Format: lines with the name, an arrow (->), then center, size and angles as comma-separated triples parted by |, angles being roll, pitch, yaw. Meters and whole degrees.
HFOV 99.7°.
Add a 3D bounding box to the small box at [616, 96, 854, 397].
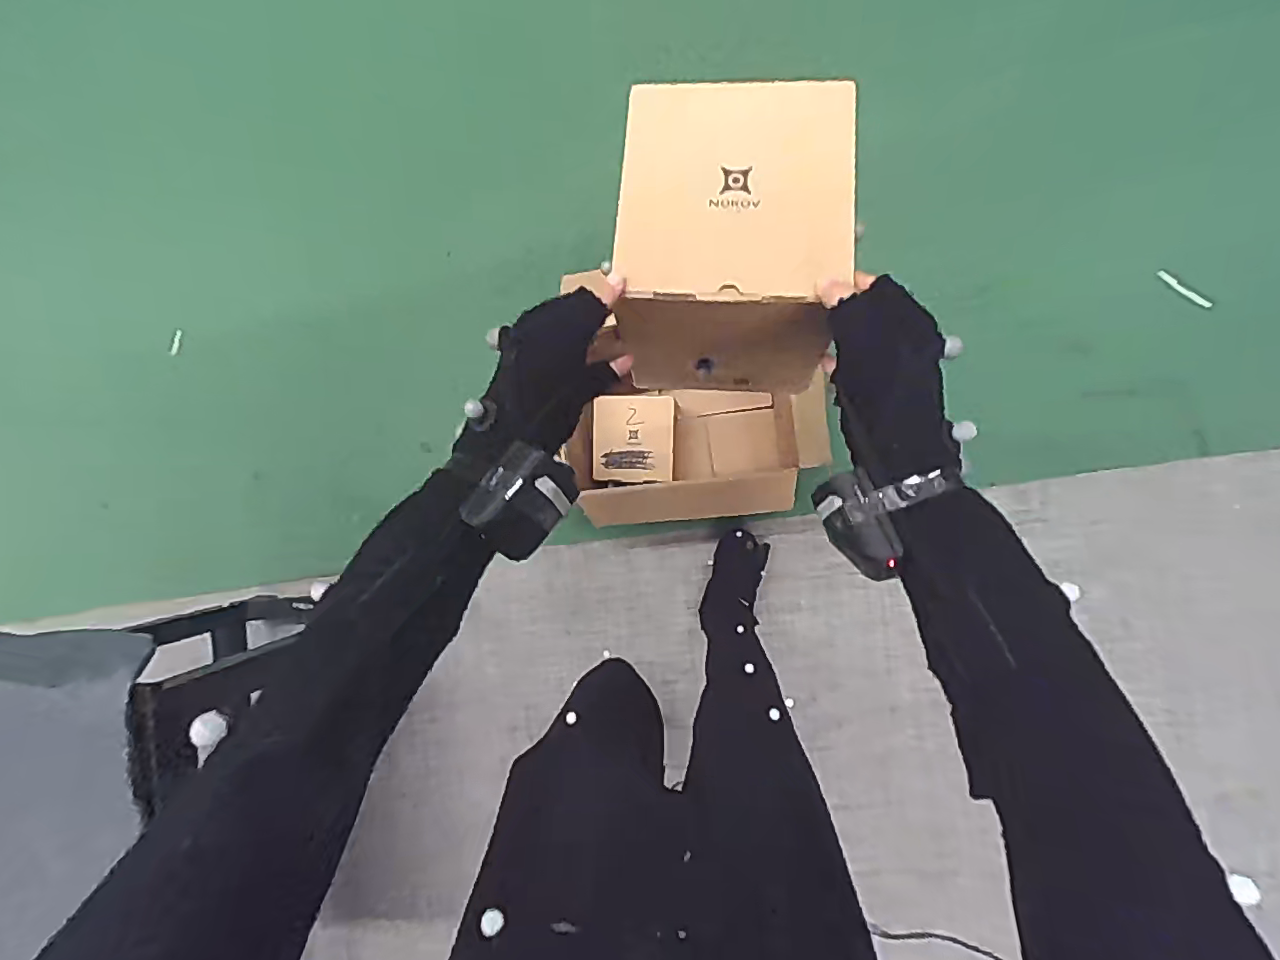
small box -> 0.076, -0.187, 0.468 | 0.168, 0.176, 0.179 | 3, 79, 6
